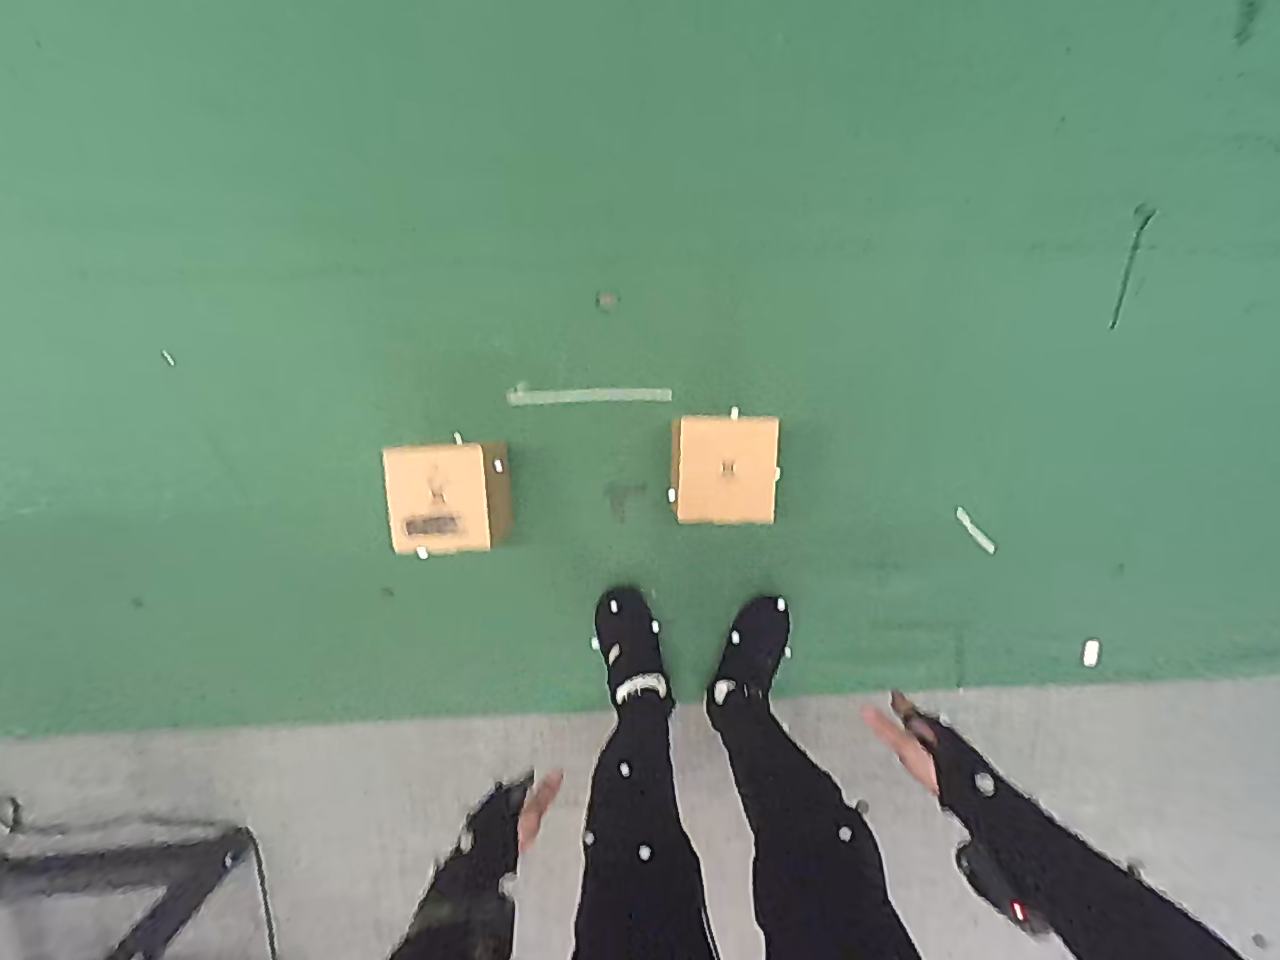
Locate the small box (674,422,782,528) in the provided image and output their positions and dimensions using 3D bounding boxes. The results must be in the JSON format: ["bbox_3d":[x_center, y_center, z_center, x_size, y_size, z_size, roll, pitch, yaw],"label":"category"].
[{"bbox_3d":[0.151,-0.016,0.983,0.168,0.176,0.179,0,98,-1],"label":"small box"}]
